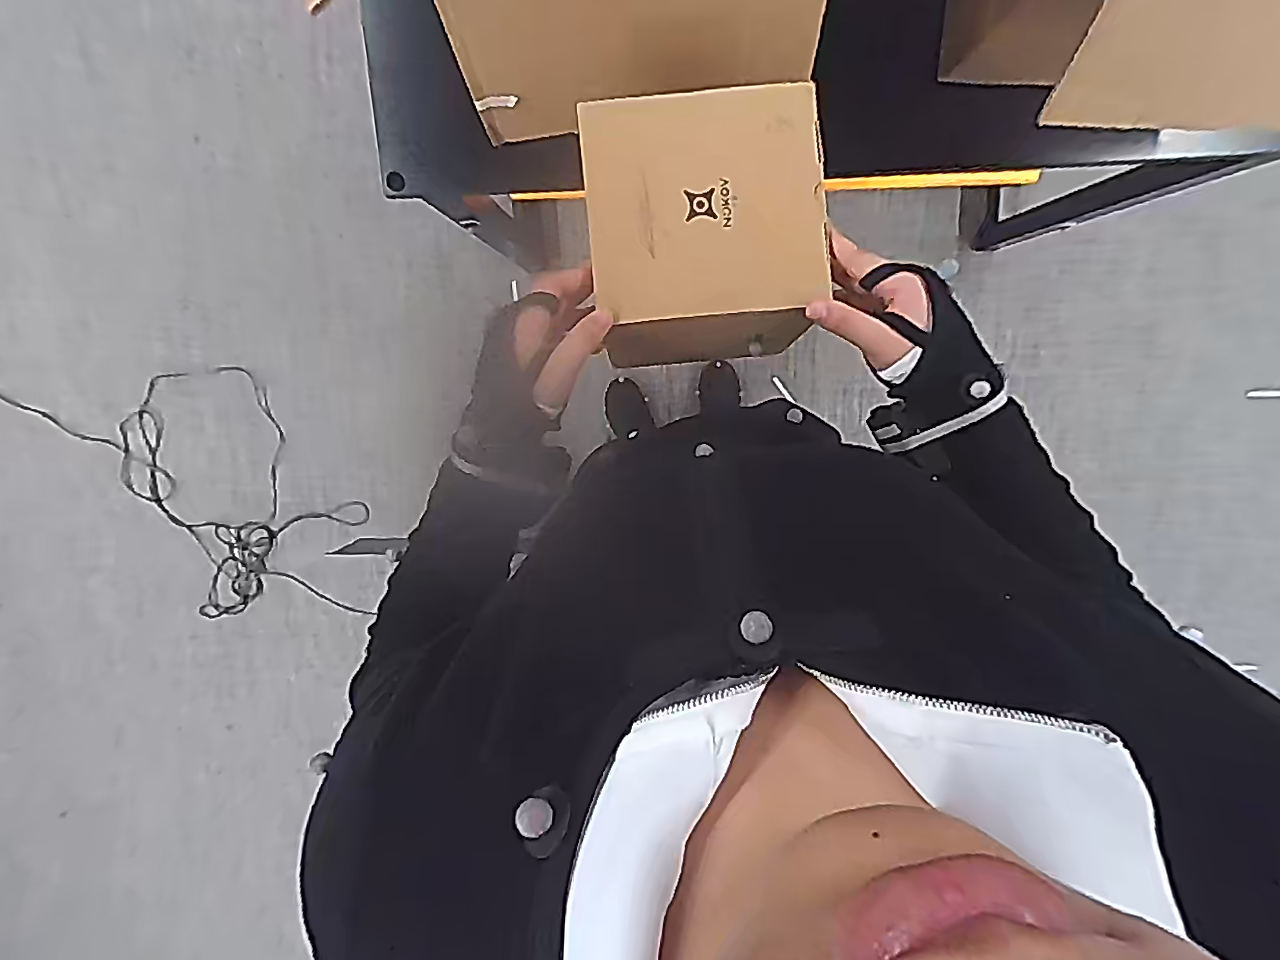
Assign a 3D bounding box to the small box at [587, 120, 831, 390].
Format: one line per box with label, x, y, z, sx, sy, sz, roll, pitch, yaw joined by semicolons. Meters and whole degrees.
small box;0.053;-0.183;0.490;0.179;0.176;0.168;-6;88;2
